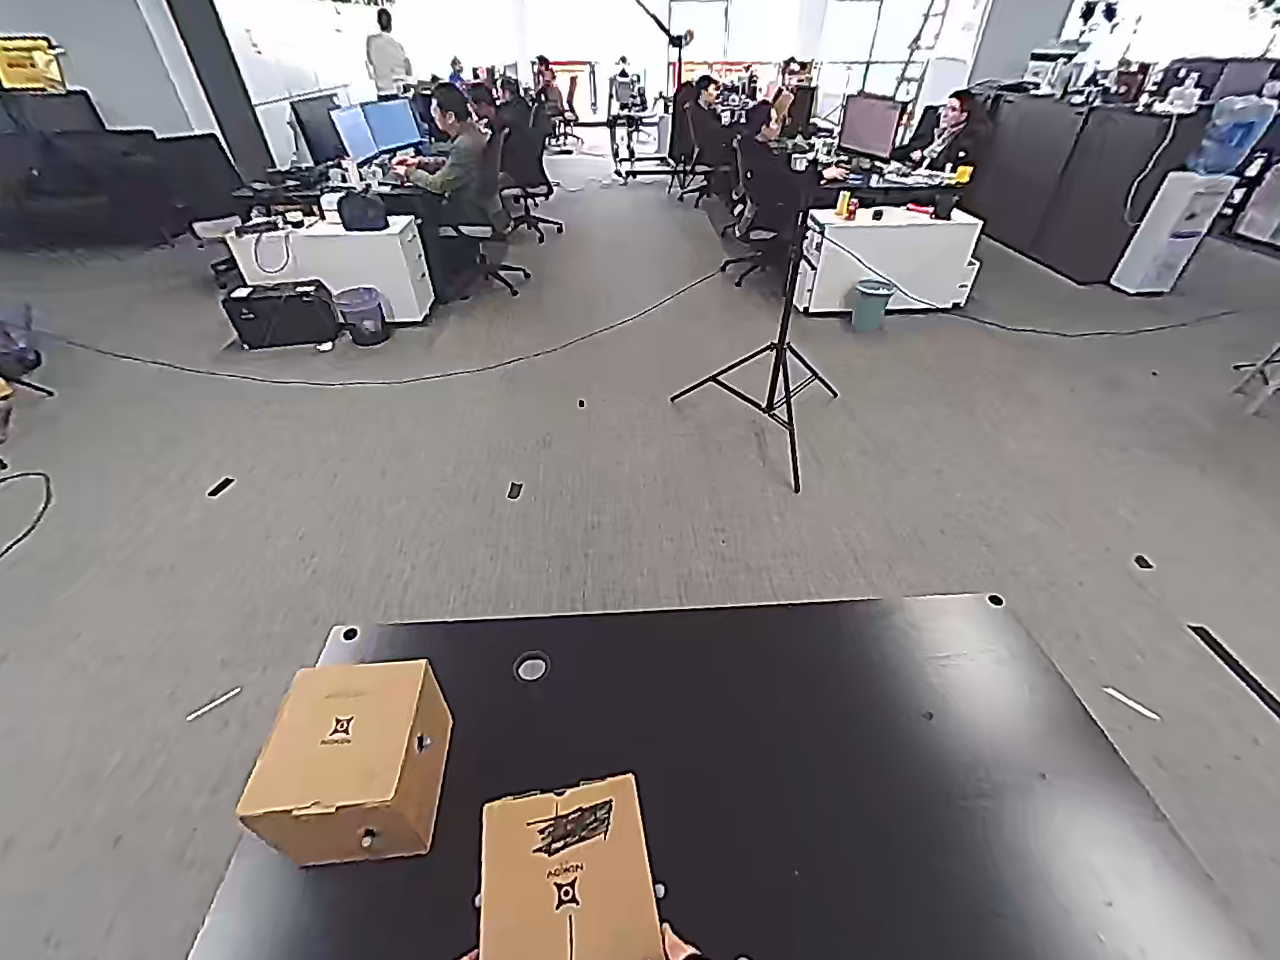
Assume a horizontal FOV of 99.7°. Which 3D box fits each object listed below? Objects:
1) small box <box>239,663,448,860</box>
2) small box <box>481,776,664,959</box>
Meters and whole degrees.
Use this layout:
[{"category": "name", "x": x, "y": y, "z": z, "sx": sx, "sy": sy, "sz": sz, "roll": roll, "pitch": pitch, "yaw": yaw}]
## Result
[{"category": "small box", "x": -0.356, "y": 0.363, "z": 0.695, "sx": 0.168, "sy": 0.176, "sz": 0.179, "roll": -3, "pitch": 39, "yaw": -5}, {"category": "small box", "x": -0.072, "y": 0.456, "z": 0.580, "sx": 0.168, "sy": 0.176, "sz": 0.179, "roll": -7, "pitch": 41, "yaw": -8}]
